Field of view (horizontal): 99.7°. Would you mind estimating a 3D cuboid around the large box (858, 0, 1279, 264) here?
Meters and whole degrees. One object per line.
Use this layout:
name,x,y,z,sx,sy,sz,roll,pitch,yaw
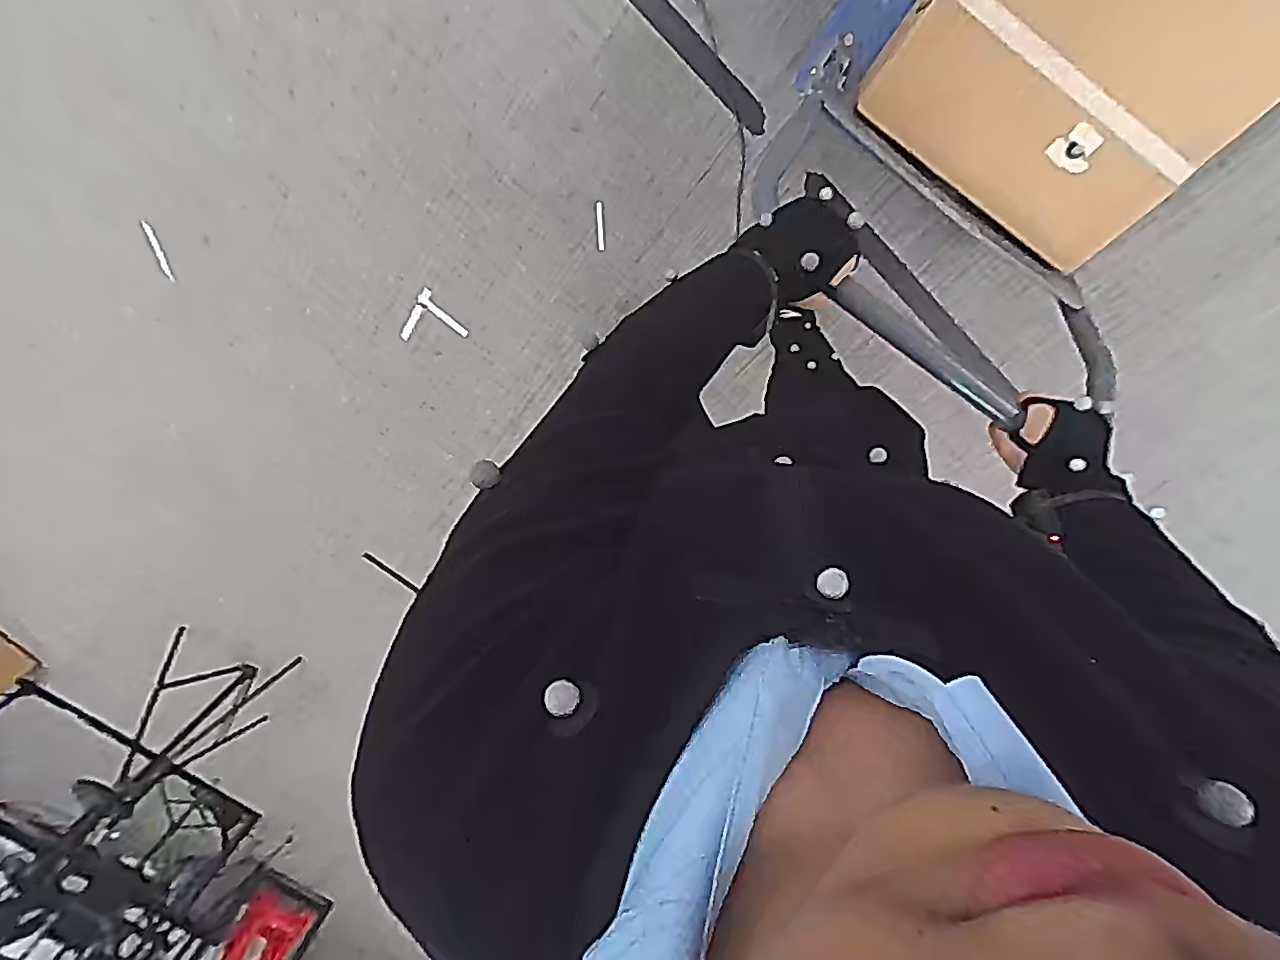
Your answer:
large box,0.583,-0.605,0.793,0.408,0.320,0.320,32,134,-7
